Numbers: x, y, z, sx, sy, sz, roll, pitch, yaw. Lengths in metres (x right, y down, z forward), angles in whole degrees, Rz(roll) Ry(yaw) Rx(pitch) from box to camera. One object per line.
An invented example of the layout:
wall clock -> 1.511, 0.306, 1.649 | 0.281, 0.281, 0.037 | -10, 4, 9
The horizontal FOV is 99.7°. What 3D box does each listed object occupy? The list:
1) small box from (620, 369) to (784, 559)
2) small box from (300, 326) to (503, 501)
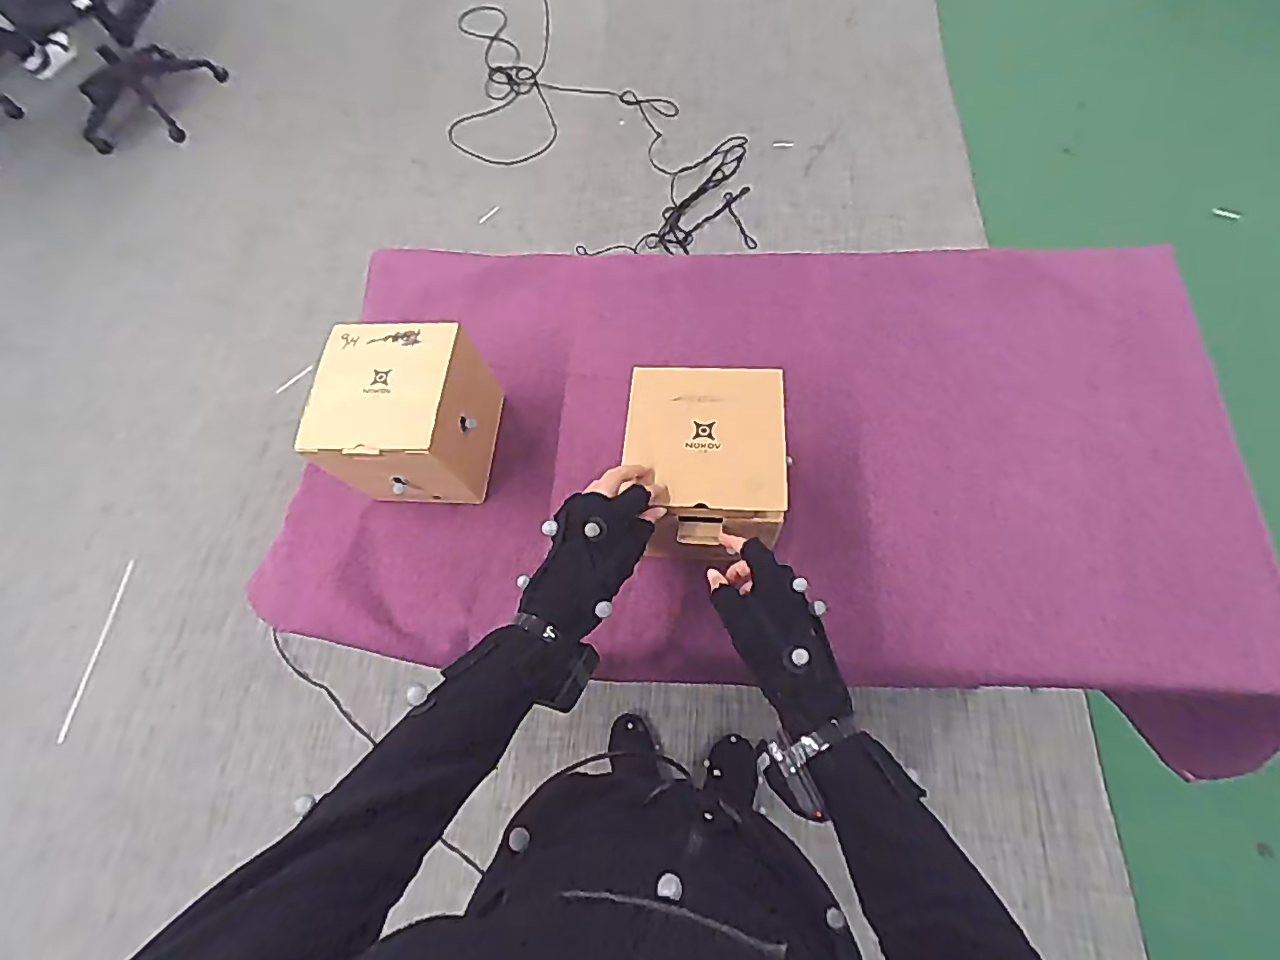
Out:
small box -> 0.076, -0.010, 0.639 | 0.168, 0.176, 0.179 | 3, 68, 7
small box -> -0.293, -0.078, 0.707 | 0.168, 0.176, 0.179 | 2, 68, 7
